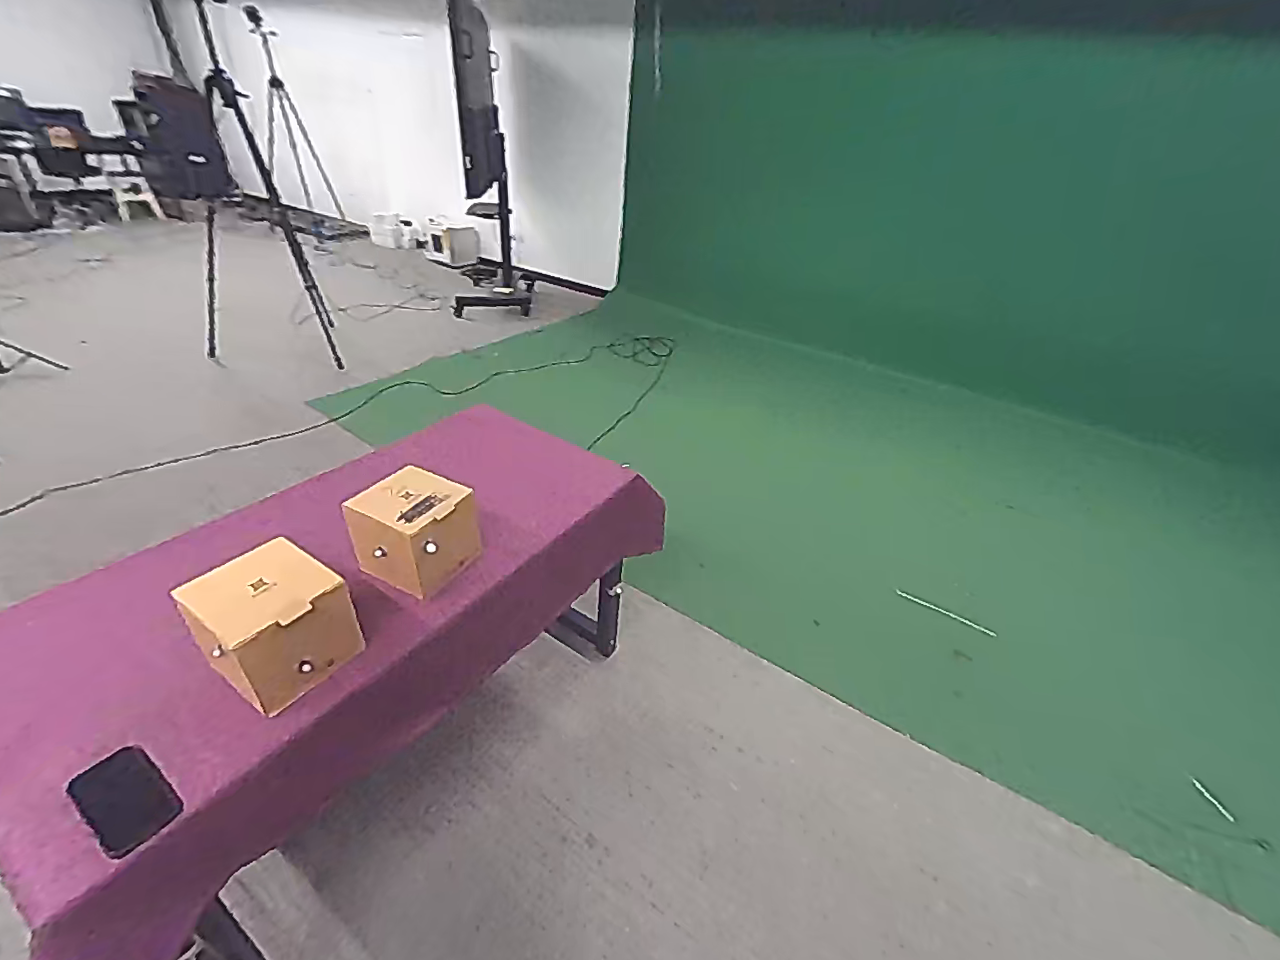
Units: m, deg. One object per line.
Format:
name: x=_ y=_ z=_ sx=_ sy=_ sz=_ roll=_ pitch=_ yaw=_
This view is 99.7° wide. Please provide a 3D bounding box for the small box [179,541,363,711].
small box: x=-0.585 y=0.235 z=0.876 sx=0.179 sy=0.176 sz=0.168 roll=23 pitch=38 yaw=23
